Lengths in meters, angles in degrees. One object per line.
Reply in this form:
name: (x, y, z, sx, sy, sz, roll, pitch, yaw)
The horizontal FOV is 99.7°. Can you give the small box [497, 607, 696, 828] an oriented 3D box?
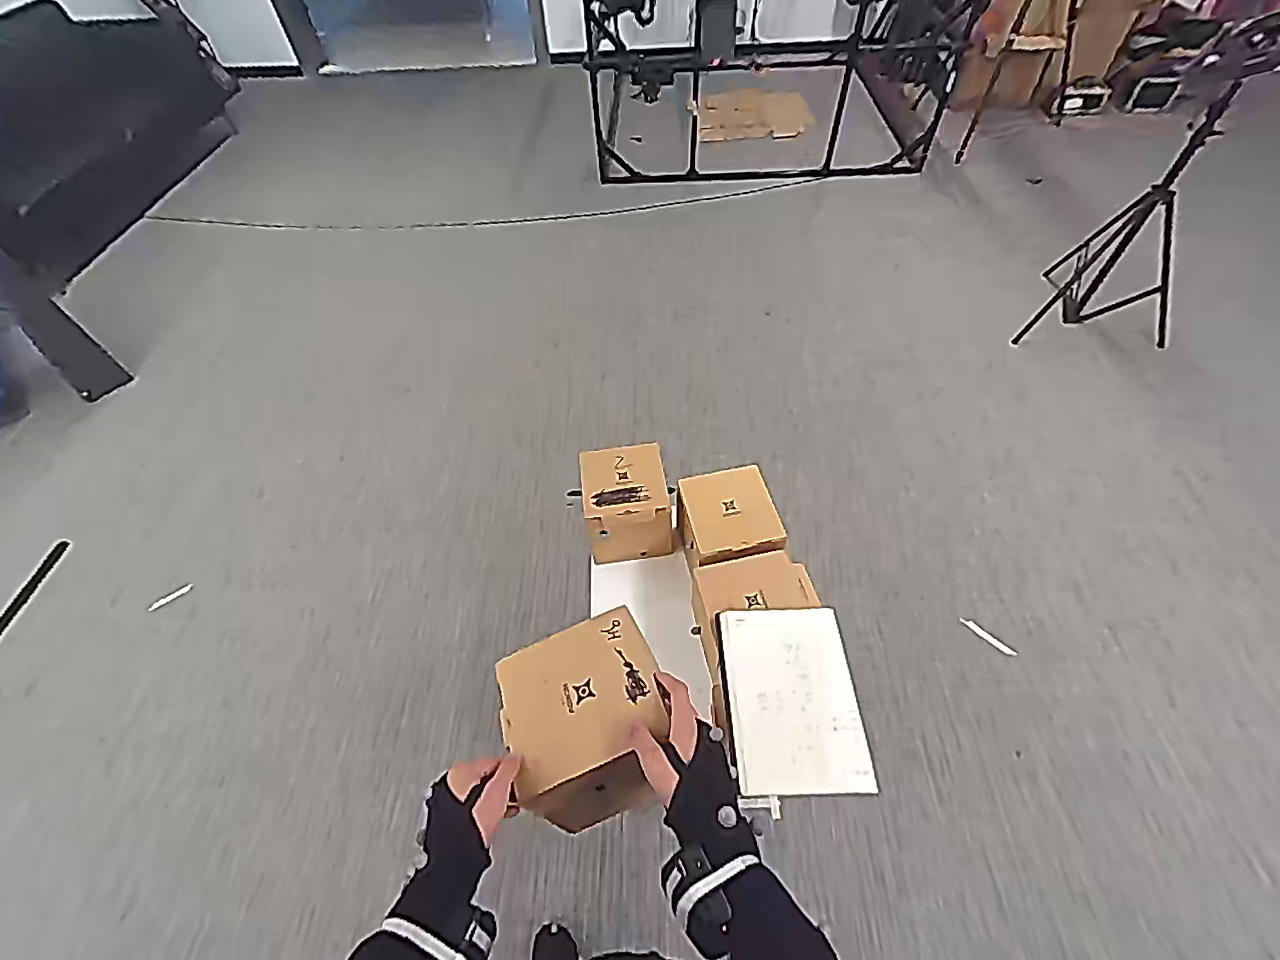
small box: (-0.050, 0.294, 0.661, 0.179, 0.176, 0.168, -24, 46, -3)
